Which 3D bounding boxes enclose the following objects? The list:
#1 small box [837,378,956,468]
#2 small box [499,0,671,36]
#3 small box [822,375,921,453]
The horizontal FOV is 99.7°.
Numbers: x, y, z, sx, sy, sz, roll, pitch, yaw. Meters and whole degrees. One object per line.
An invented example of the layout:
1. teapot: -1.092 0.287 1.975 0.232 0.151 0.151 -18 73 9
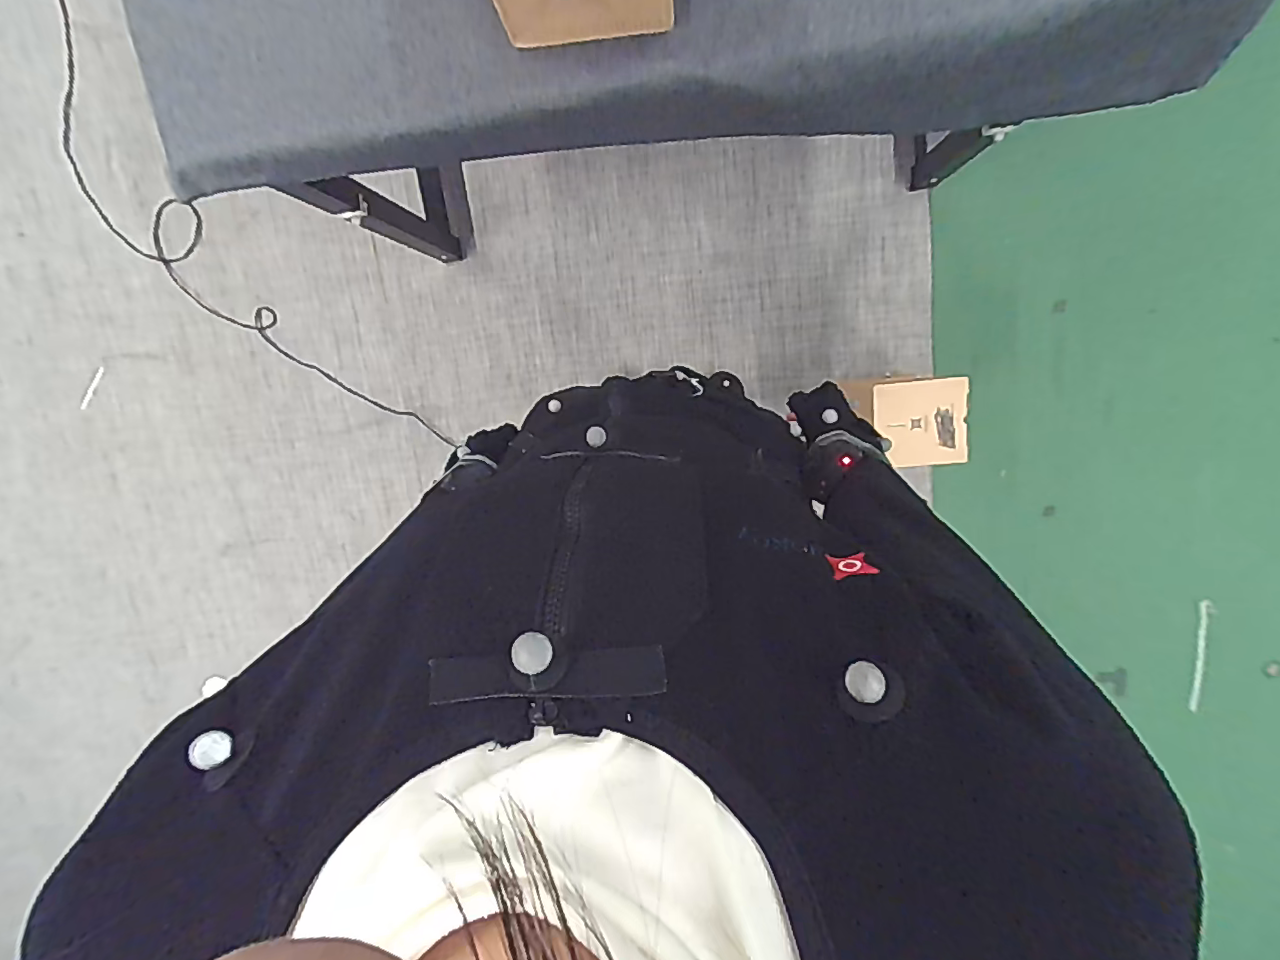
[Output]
1. small box: 0.524 -0.123 1.123 0.179 0.176 0.168 -3 100 5
2. small box: -0.063 -0.548 0.493 0.179 0.176 0.168 -2 101 4
3. small box: 0.546 -0.158 1.283 0.179 0.176 0.168 -6 100 6
